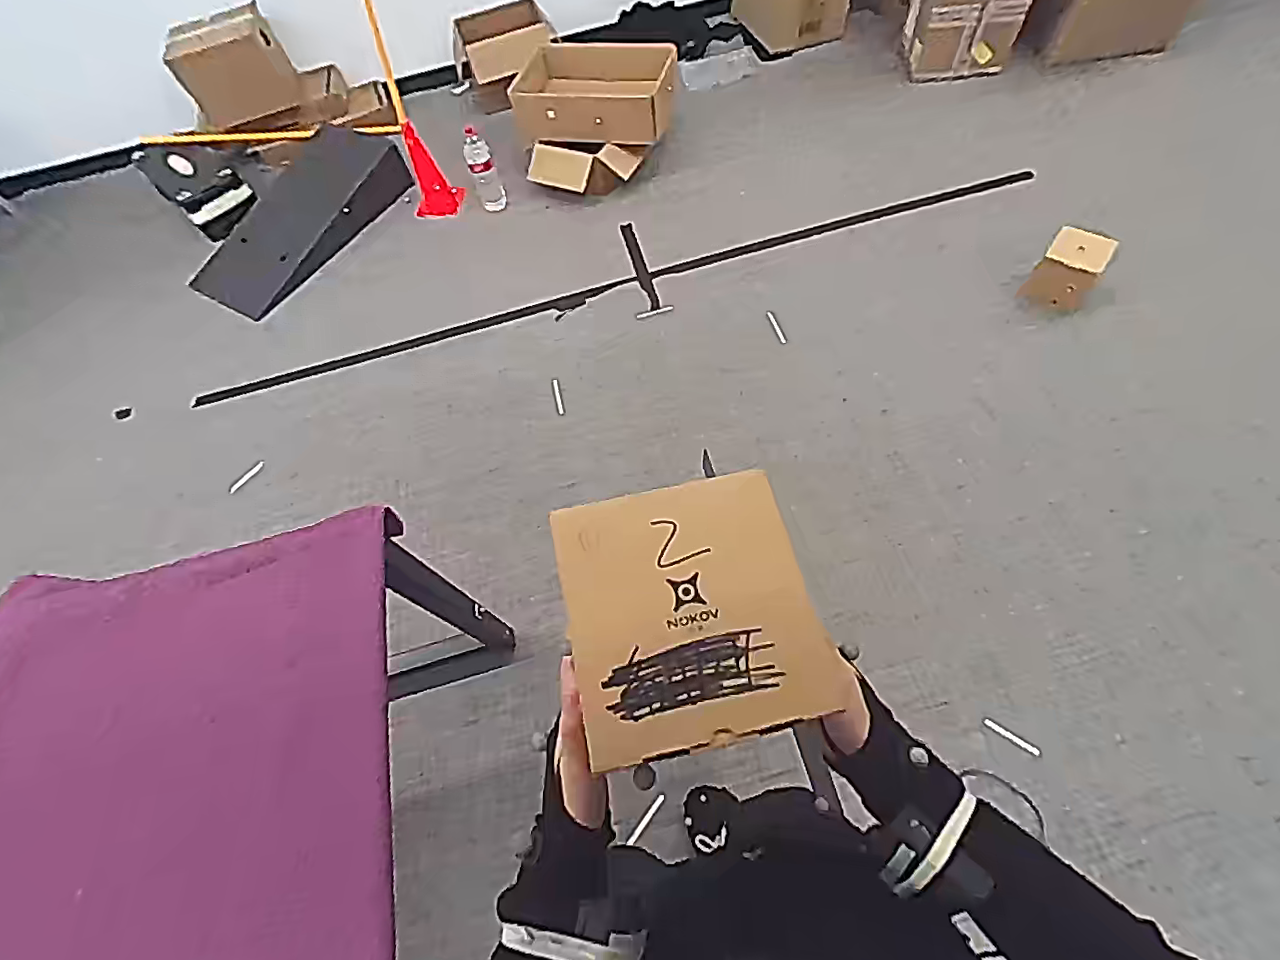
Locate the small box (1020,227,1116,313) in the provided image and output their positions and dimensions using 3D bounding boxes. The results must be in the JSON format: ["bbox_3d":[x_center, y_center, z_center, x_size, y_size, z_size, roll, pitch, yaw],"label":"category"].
[{"bbox_3d":[1.396,-0.685,1.777,0.168,0.176,0.179,33,69,21],"label":"small box"}]
